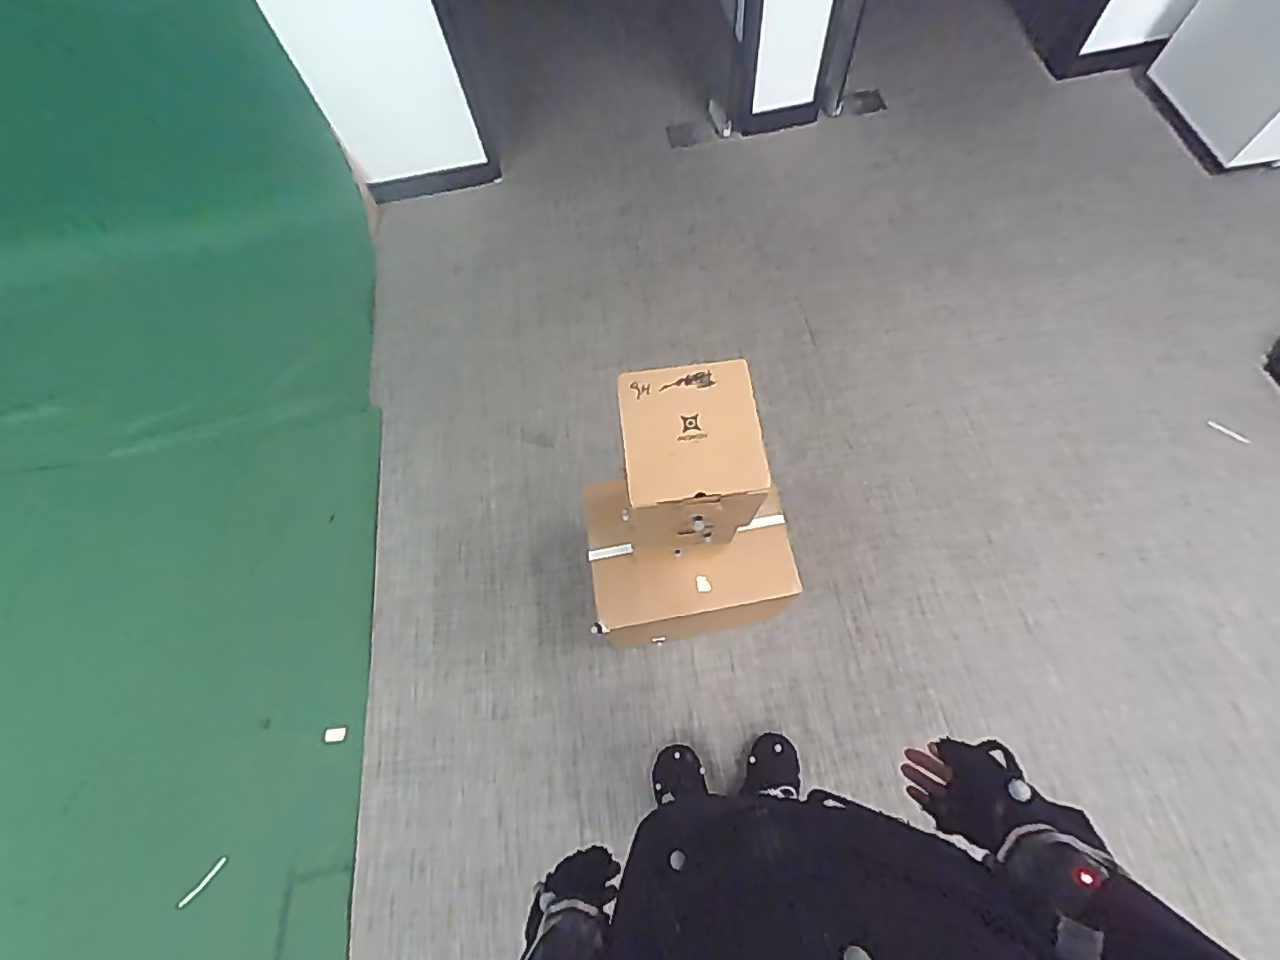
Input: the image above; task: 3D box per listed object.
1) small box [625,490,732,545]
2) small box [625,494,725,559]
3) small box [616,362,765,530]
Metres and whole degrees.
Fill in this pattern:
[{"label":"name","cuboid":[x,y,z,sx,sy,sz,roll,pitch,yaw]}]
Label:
[{"label":"small box","cuboid":[0.062,0.007,0.888,0.168,0.176,0.179,-4,71,1]},{"label":"small box","cuboid":[0.064,0.053,1.041,0.179,0.176,0.168,-4,70,2]},{"label":"small box","cuboid":[0.062,-0.034,0.729,0.168,0.176,0.179,-6,72,0]}]
